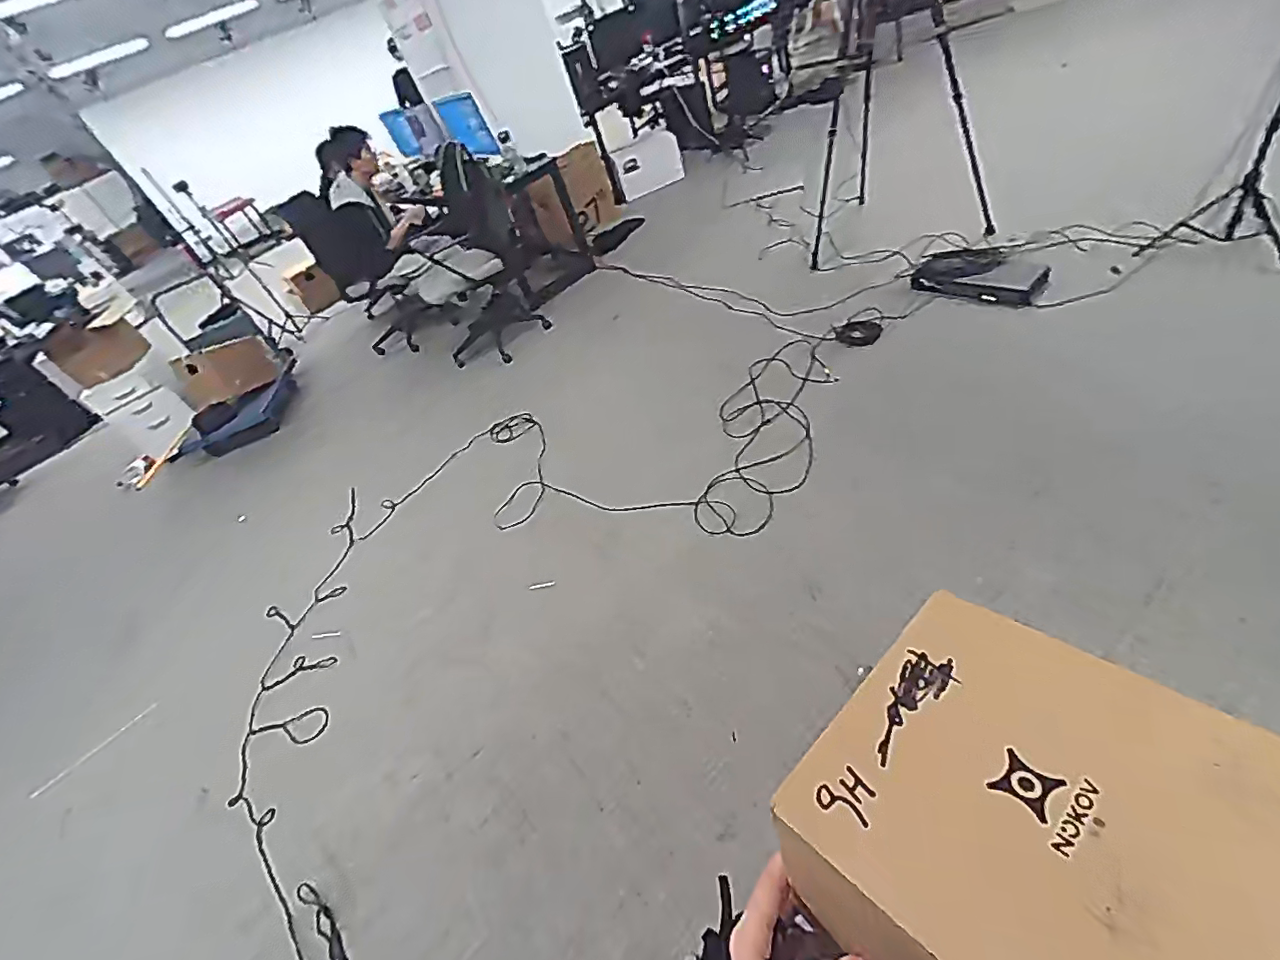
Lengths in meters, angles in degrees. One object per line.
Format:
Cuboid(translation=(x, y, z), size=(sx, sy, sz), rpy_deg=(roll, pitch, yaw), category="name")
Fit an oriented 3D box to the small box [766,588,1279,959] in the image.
Cuboid(translation=(0.194, 0.199, 0.285), size=(0.168, 0.176, 0.179), rpy_deg=(-36, 40, -23), category="small box")
